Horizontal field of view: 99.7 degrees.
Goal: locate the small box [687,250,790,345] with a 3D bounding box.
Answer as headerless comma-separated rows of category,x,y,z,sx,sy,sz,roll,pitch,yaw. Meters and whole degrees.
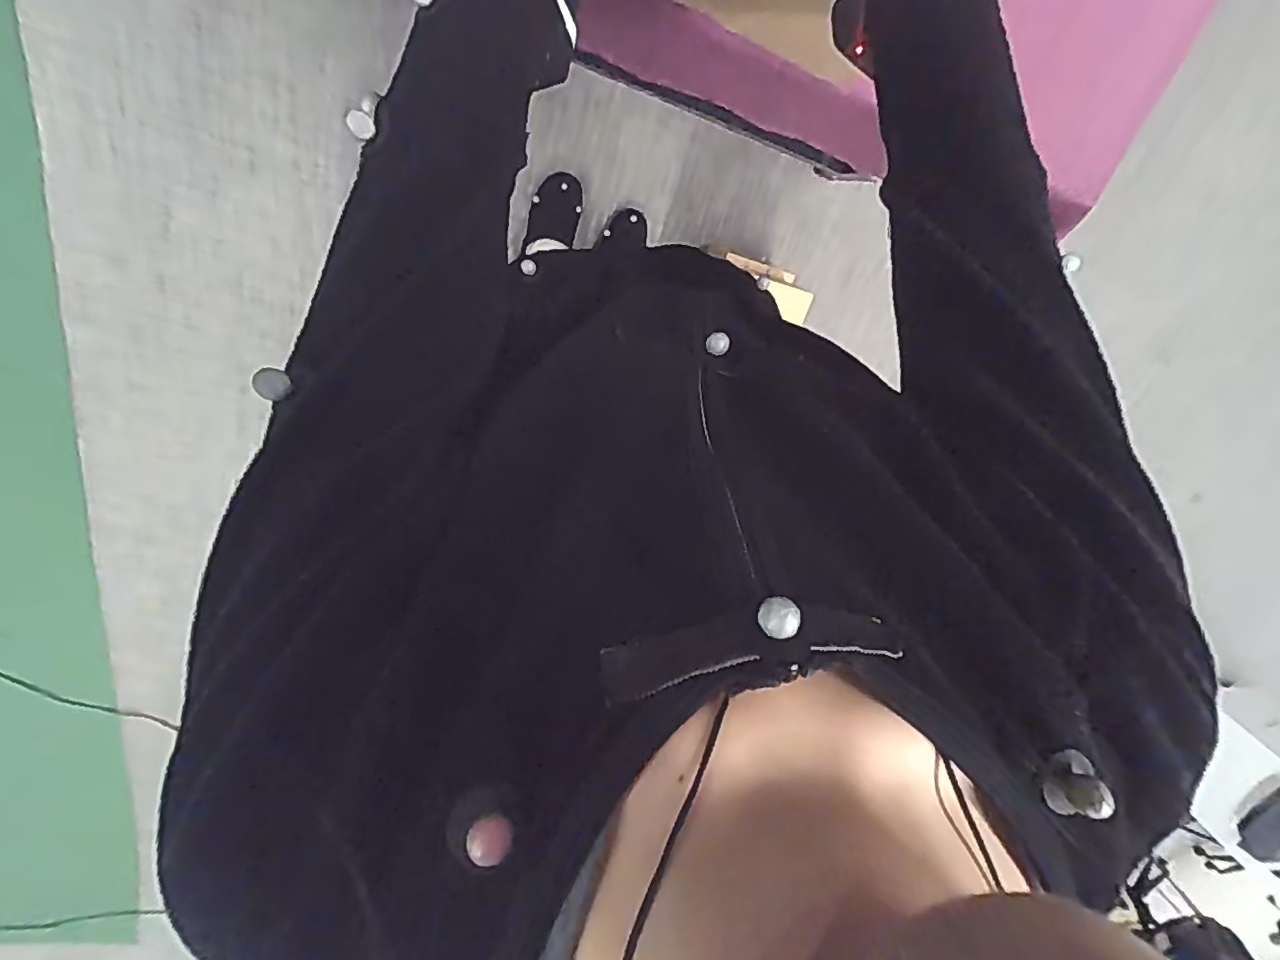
small box,0.233,-0.452,1.327,0.179,0.176,0.168,12,116,-14
